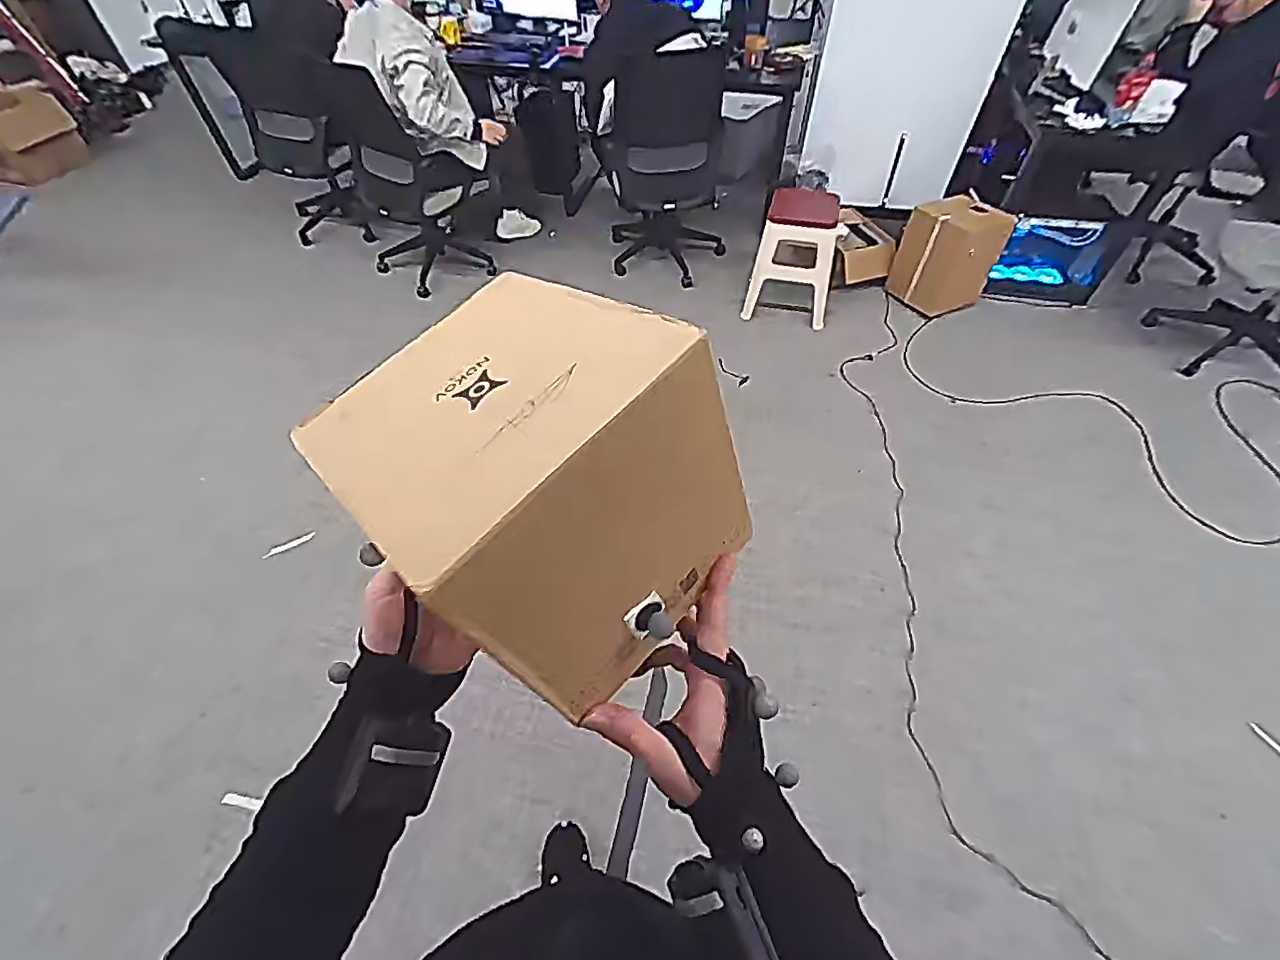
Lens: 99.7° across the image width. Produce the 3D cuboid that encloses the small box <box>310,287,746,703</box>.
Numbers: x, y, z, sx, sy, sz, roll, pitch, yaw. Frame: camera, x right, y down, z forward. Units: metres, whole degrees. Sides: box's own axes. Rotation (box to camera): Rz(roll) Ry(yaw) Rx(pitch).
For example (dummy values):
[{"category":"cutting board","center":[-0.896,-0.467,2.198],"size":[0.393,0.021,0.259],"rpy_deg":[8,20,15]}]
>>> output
[{"category":"small box","center":[-0.055,0.008,0.344],"size":[0.179,0.176,0.168],"rpy_deg":[29,66,36]}]
